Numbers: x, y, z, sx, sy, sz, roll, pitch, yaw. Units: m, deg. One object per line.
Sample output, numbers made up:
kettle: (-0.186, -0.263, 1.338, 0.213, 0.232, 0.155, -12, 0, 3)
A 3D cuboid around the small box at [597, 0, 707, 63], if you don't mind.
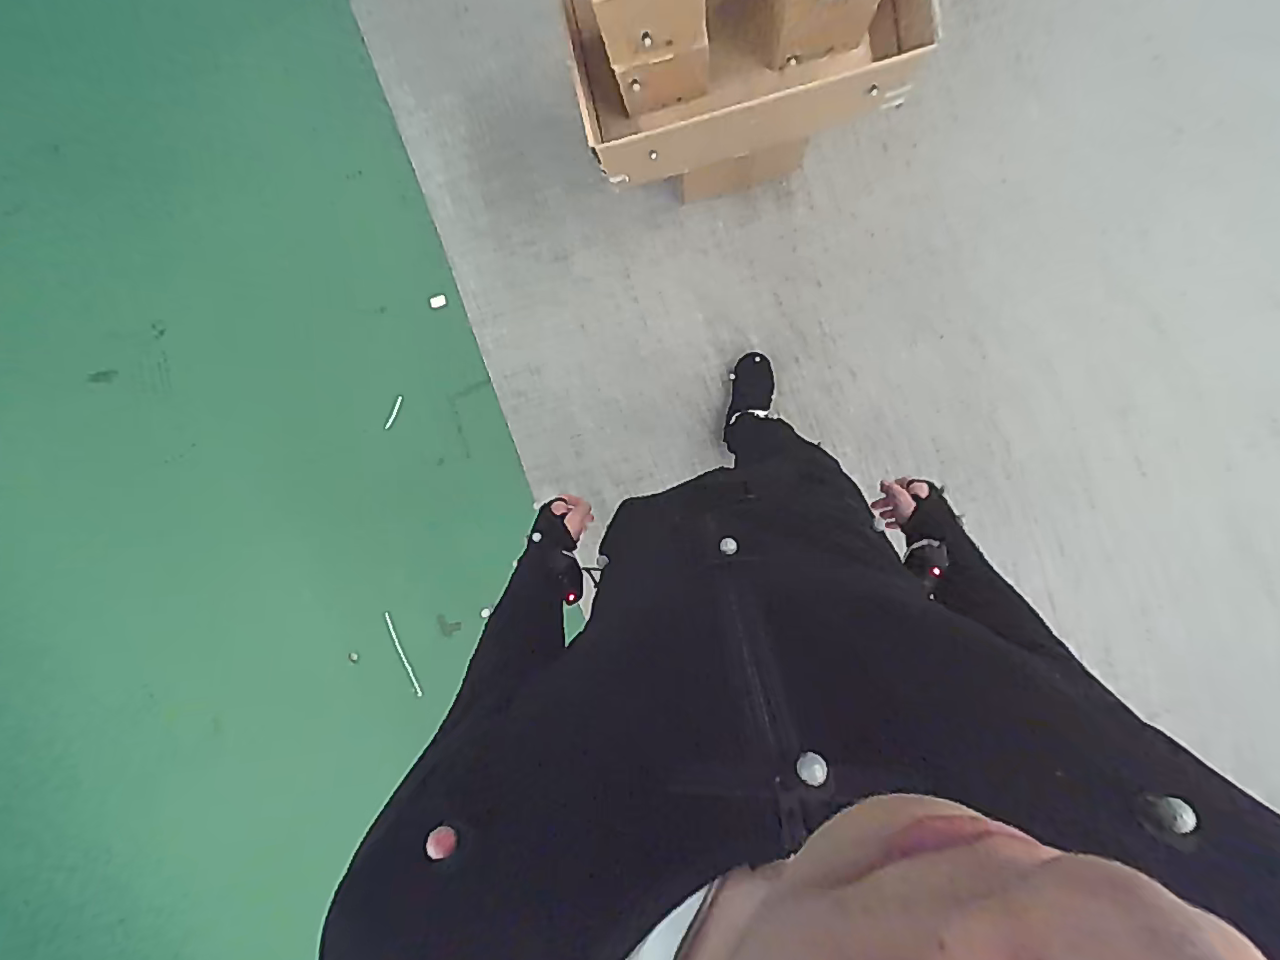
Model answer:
small box: (0.008, -0.797, 0.827, 0.168, 0.176, 0.179, -10, 98, 8)
